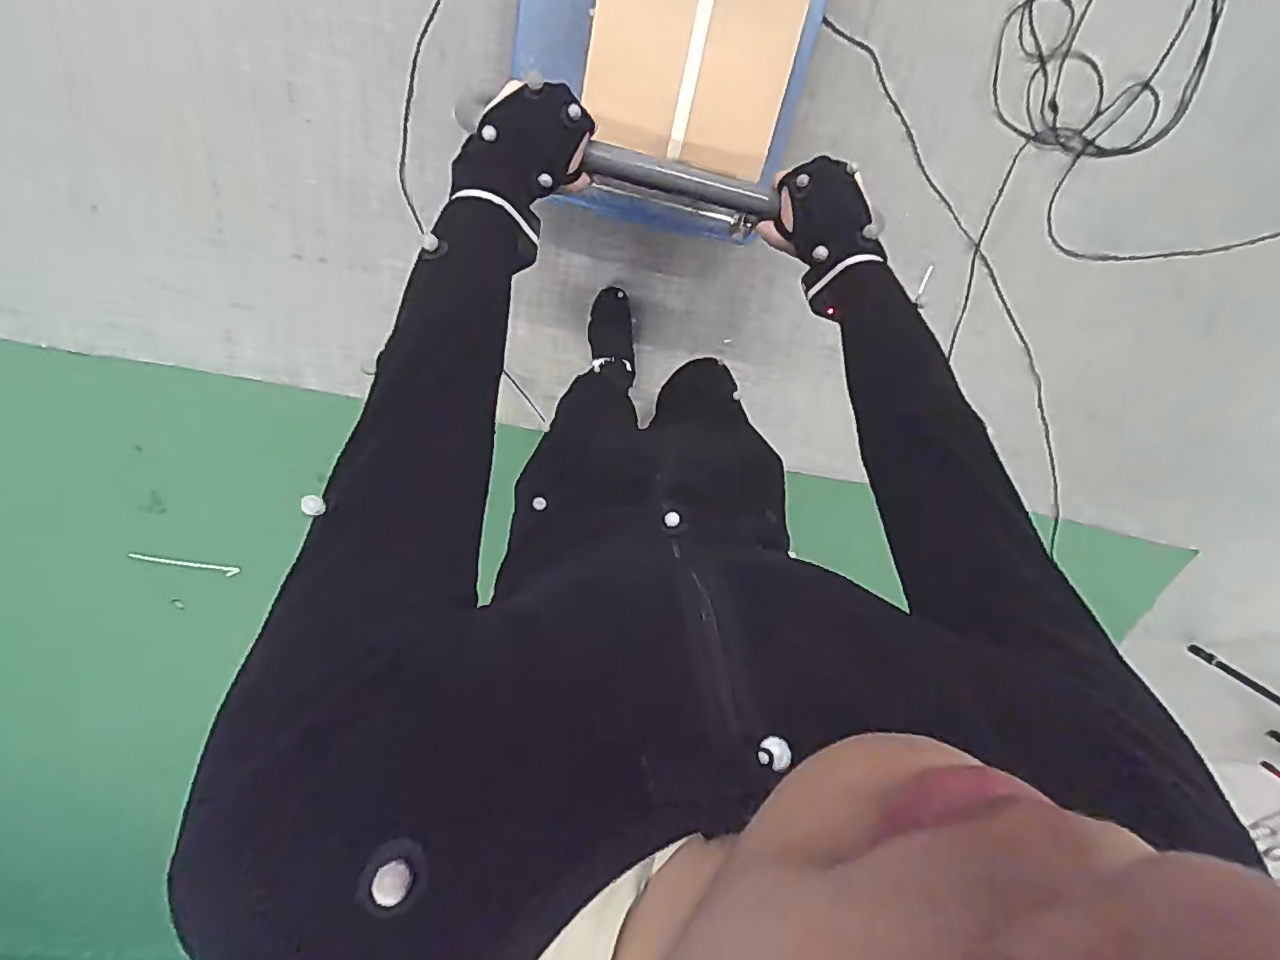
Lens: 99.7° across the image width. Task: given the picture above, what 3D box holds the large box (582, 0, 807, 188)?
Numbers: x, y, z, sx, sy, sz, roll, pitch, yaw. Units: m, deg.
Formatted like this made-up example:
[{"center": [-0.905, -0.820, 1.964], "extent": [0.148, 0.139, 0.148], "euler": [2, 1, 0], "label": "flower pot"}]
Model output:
[{"center": [0.083, -0.770, 0.943], "extent": [0.320, 0.320, 0.408], "euler": [9, 114, -10], "label": "large box"}]
